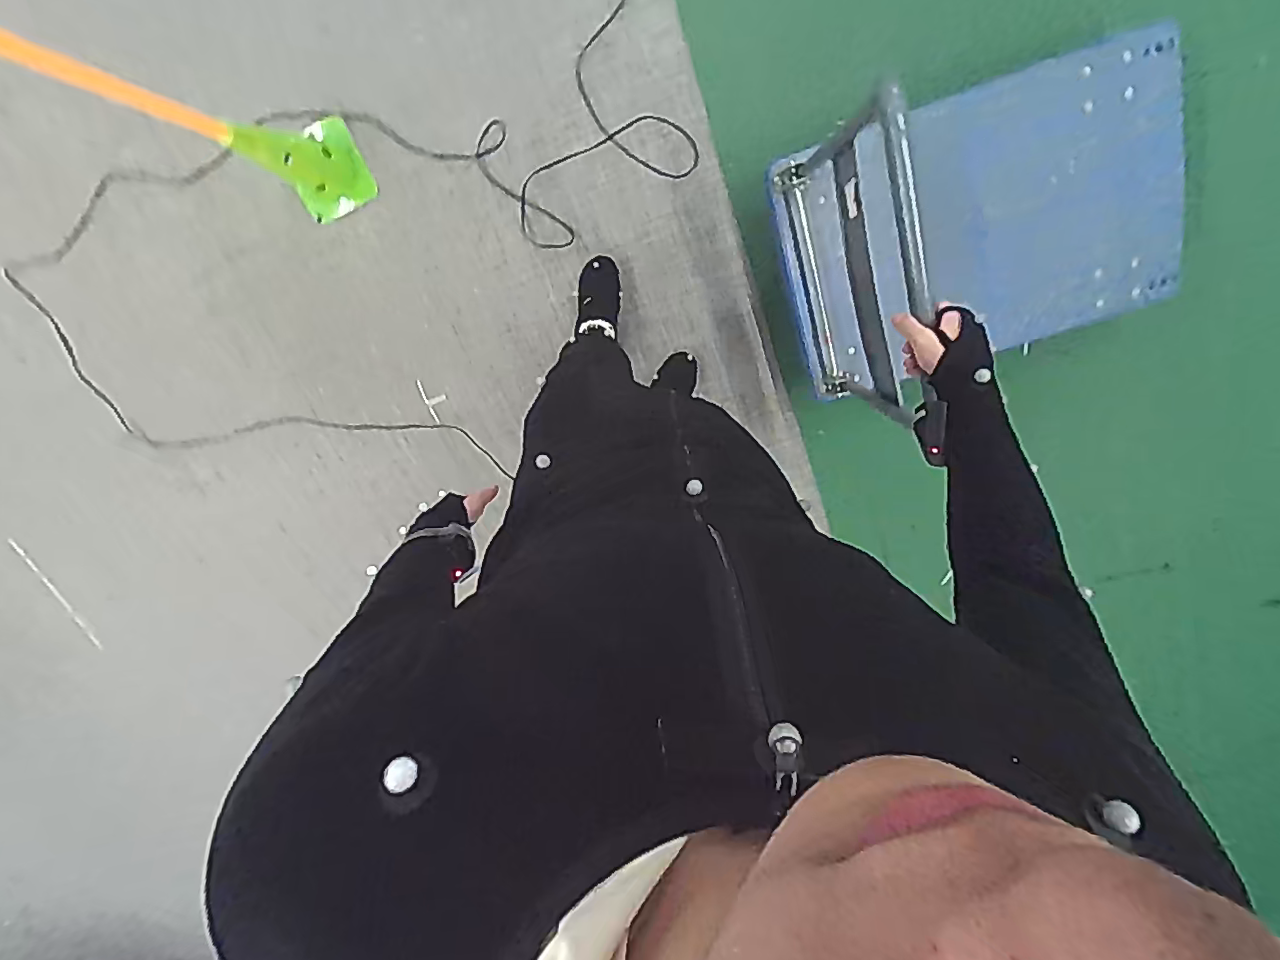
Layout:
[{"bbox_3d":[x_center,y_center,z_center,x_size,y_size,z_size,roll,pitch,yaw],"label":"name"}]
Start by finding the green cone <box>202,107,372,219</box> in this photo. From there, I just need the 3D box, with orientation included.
[{"bbox_3d":[-0.813,-0.747,1.211,0.200,0.368,0.202,-22,105,9],"label":"green cone"}]
